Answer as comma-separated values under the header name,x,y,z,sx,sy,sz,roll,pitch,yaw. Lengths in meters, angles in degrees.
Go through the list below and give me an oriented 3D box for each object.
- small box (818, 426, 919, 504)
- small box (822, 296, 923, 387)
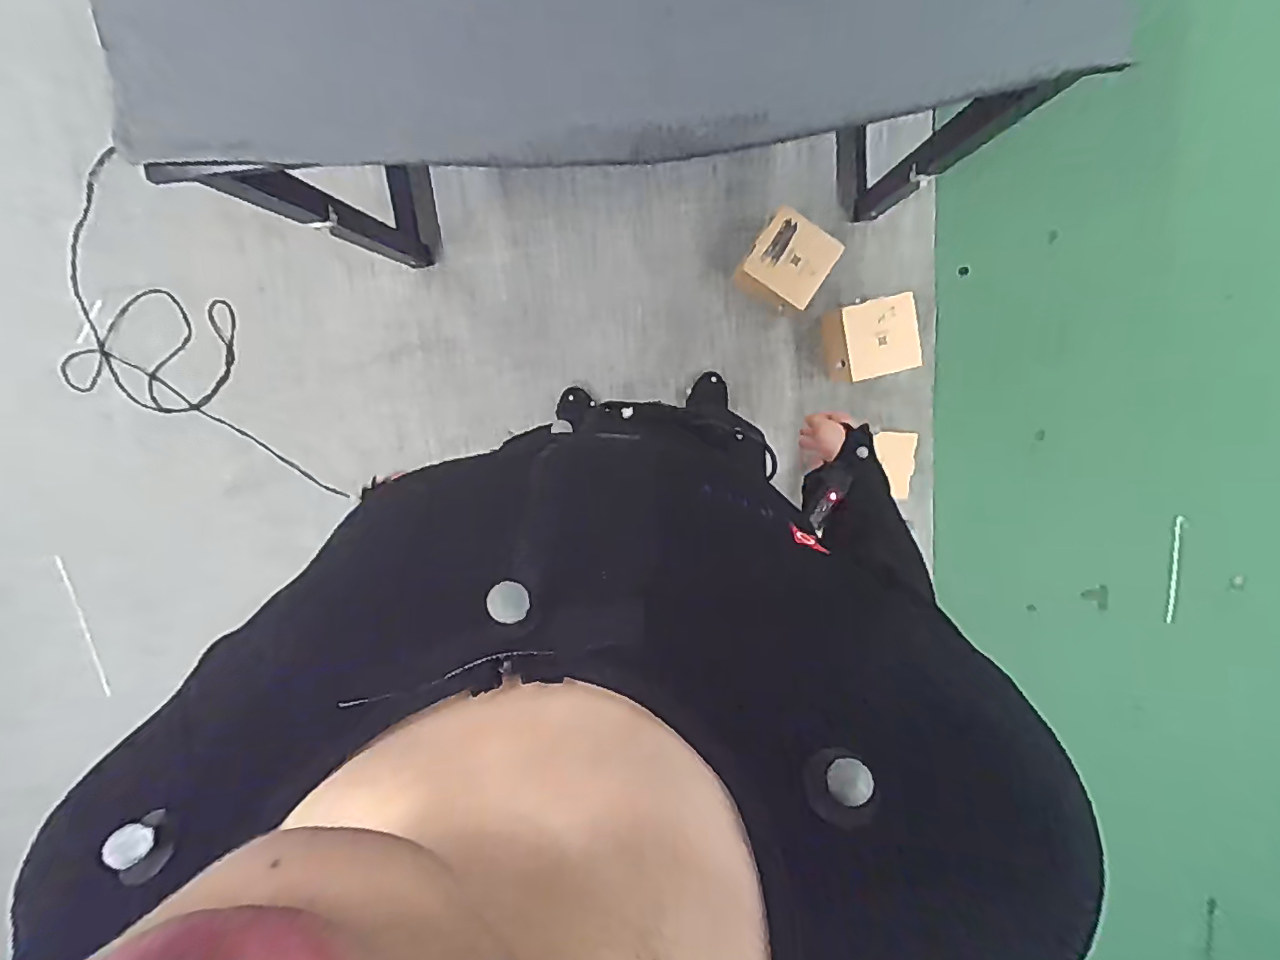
name,x,y,z,sx,sy,sz,roll,pitch,yaw
small box,0.574,-0.043,1.376,0.179,0.176,0.168,4,102,1
small box,0.559,-0.333,1.316,0.168,0.176,0.179,-13,101,4
